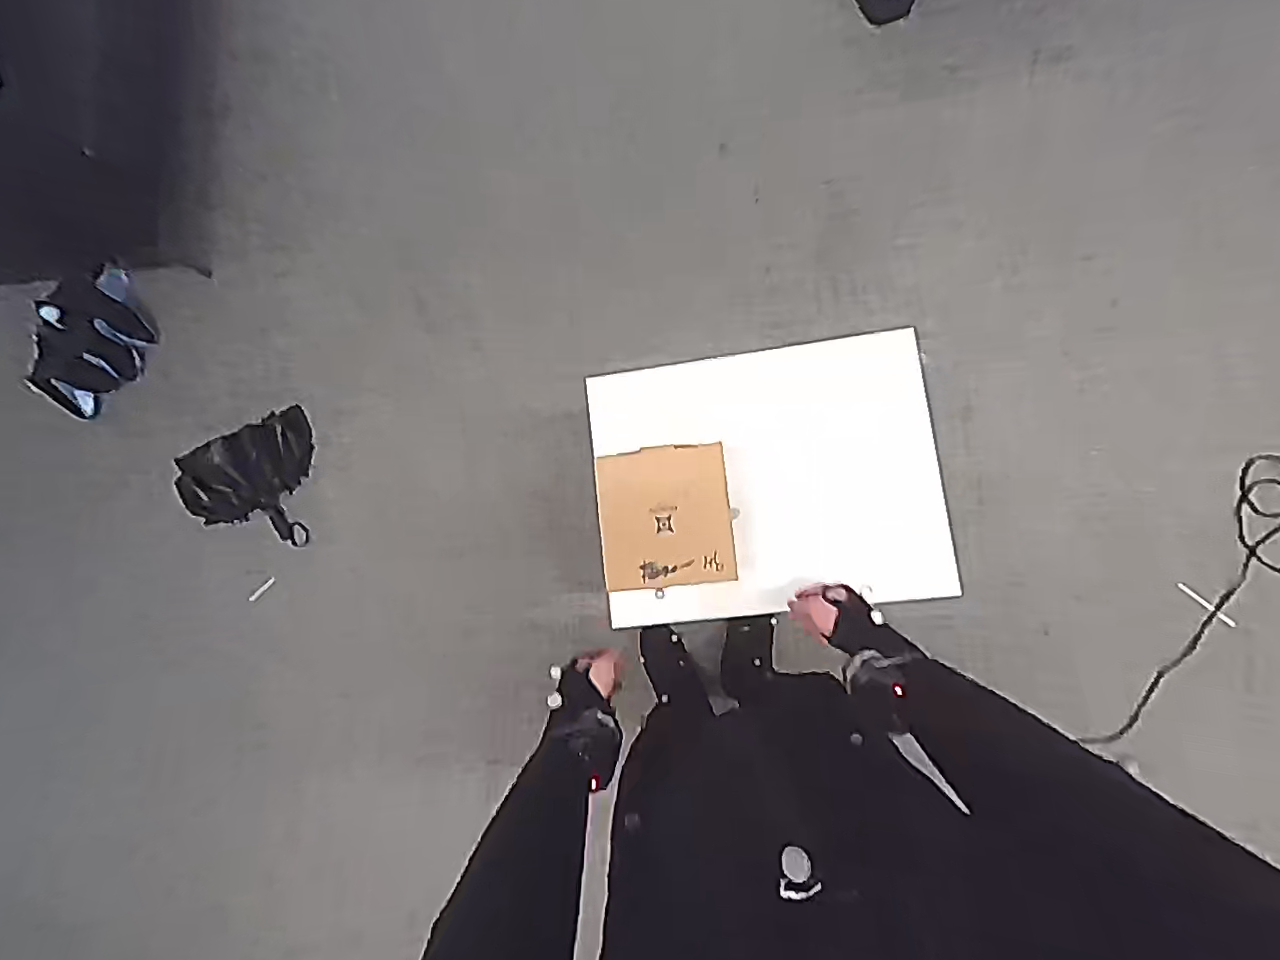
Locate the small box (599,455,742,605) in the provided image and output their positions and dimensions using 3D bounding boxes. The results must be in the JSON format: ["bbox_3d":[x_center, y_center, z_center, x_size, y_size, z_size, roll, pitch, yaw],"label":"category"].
[{"bbox_3d":[0.046,0.075,0.750,0.168,0.176,0.179,-8,80,8],"label":"small box"}]
